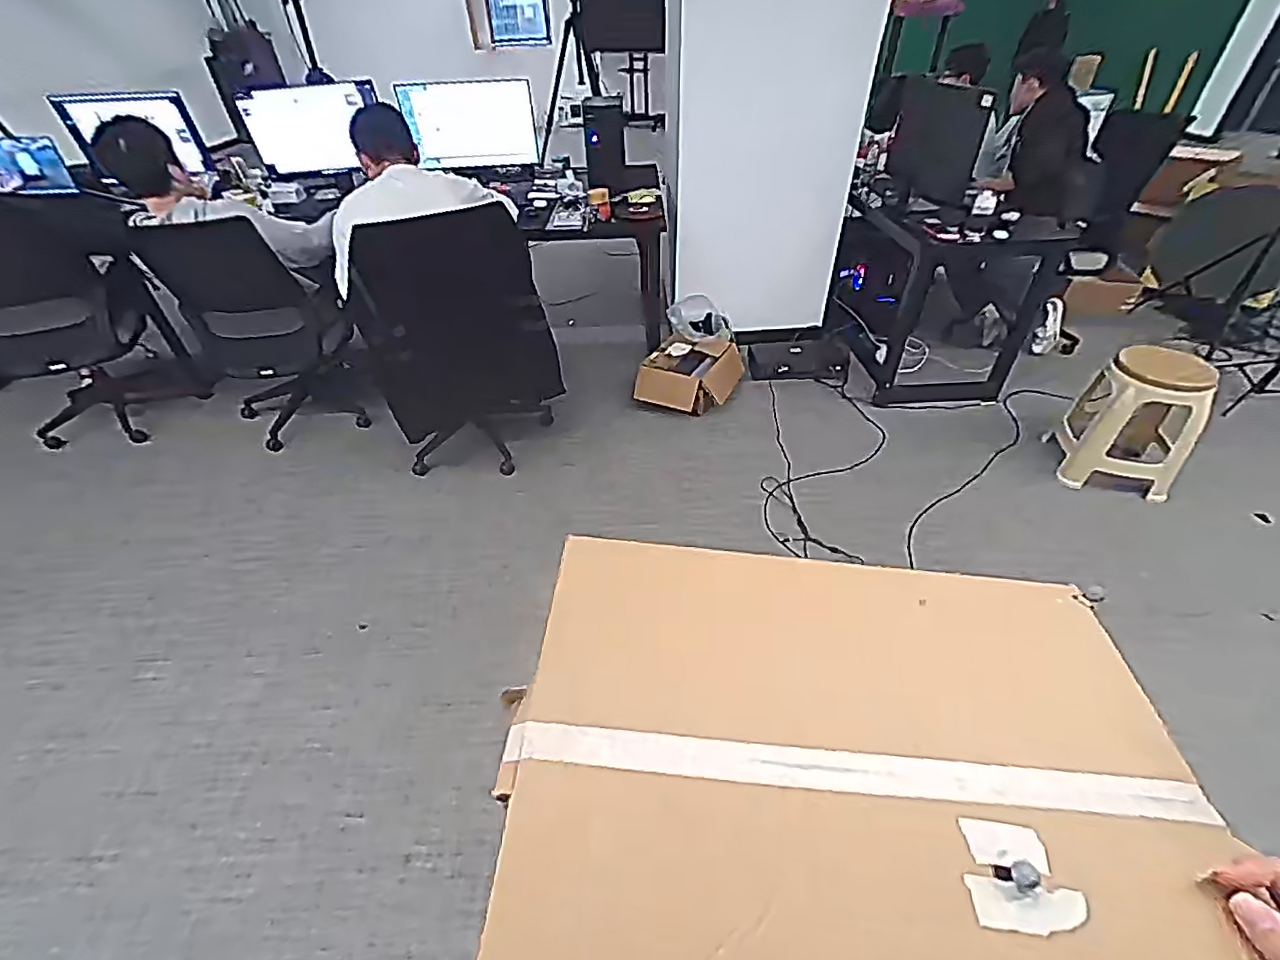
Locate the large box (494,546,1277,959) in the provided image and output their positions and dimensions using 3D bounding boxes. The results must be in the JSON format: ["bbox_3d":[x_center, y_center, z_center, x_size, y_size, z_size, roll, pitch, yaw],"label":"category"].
[{"bbox_3d":[0.119,0.283,0.431,0.408,0.320,0.320,6,45,-1],"label":"large box"}]
